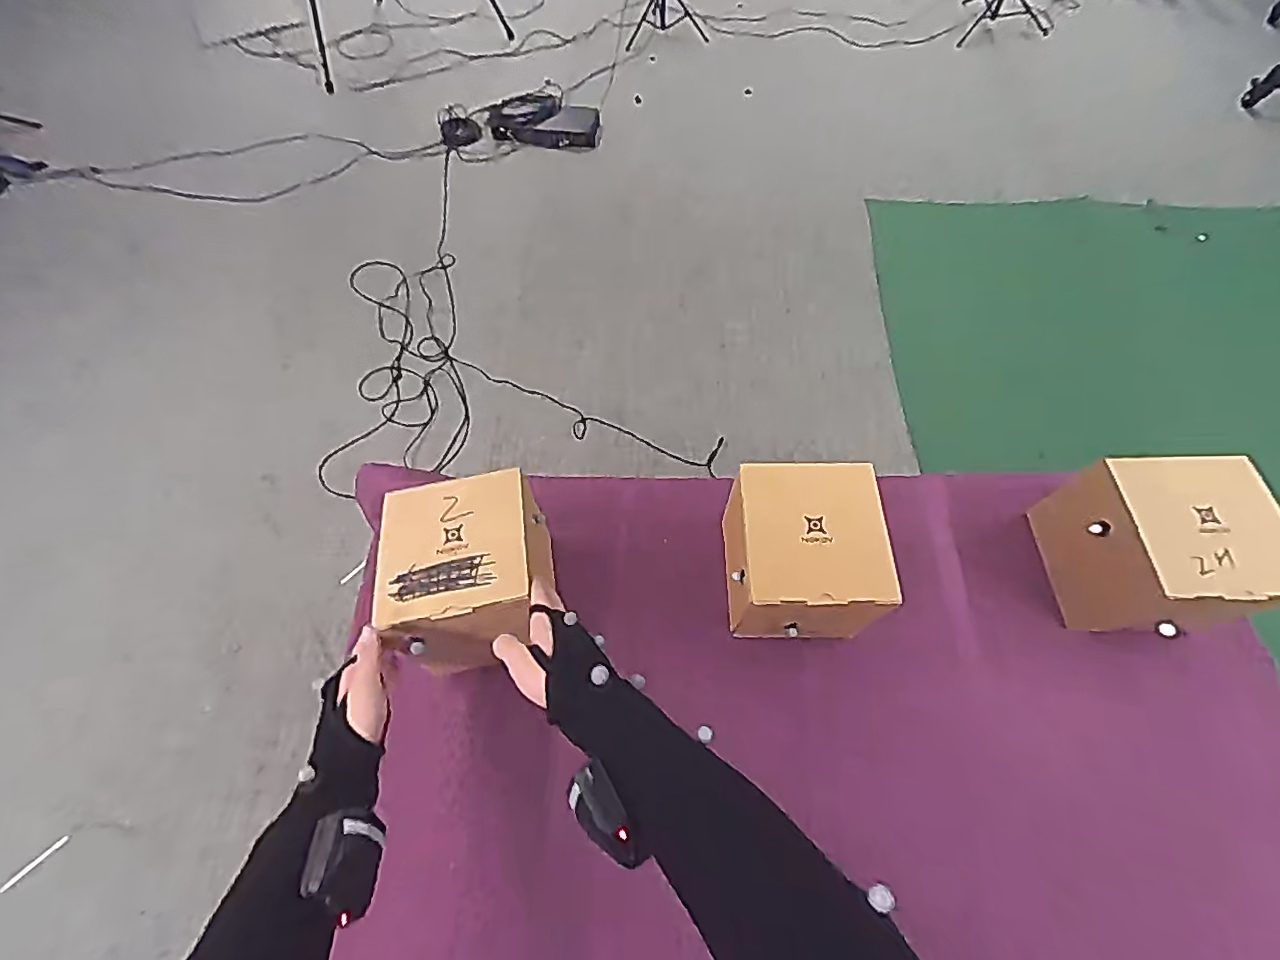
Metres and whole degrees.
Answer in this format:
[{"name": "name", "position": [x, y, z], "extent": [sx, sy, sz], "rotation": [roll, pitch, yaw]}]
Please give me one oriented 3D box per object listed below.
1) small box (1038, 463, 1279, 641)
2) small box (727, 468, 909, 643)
[{"name": "small box", "position": [0.649, 0.094, 0.678], "extent": [0.168, 0.176, 0.179], "rotation": [-1, 62, 4]}, {"name": "small box", "position": [0.208, 0.100, 0.688], "extent": [0.168, 0.176, 0.179], "rotation": [0, 62, 0]}]
